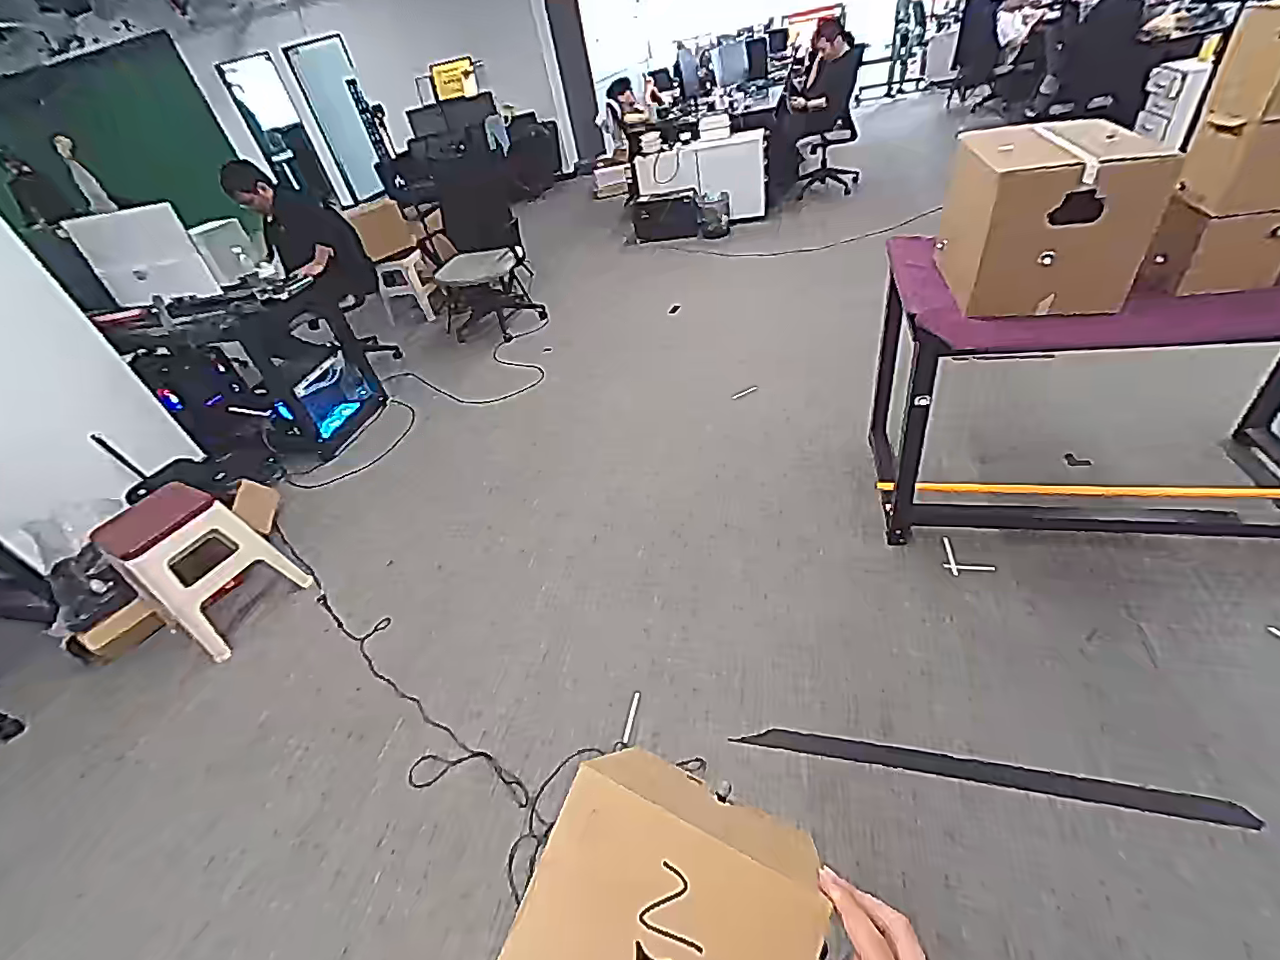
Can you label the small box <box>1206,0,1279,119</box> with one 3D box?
[{"bbox_3d":[1.217,-0.778,0.990,0.168,0.176,0.179,-2,40,12],"label":"small box"}]
